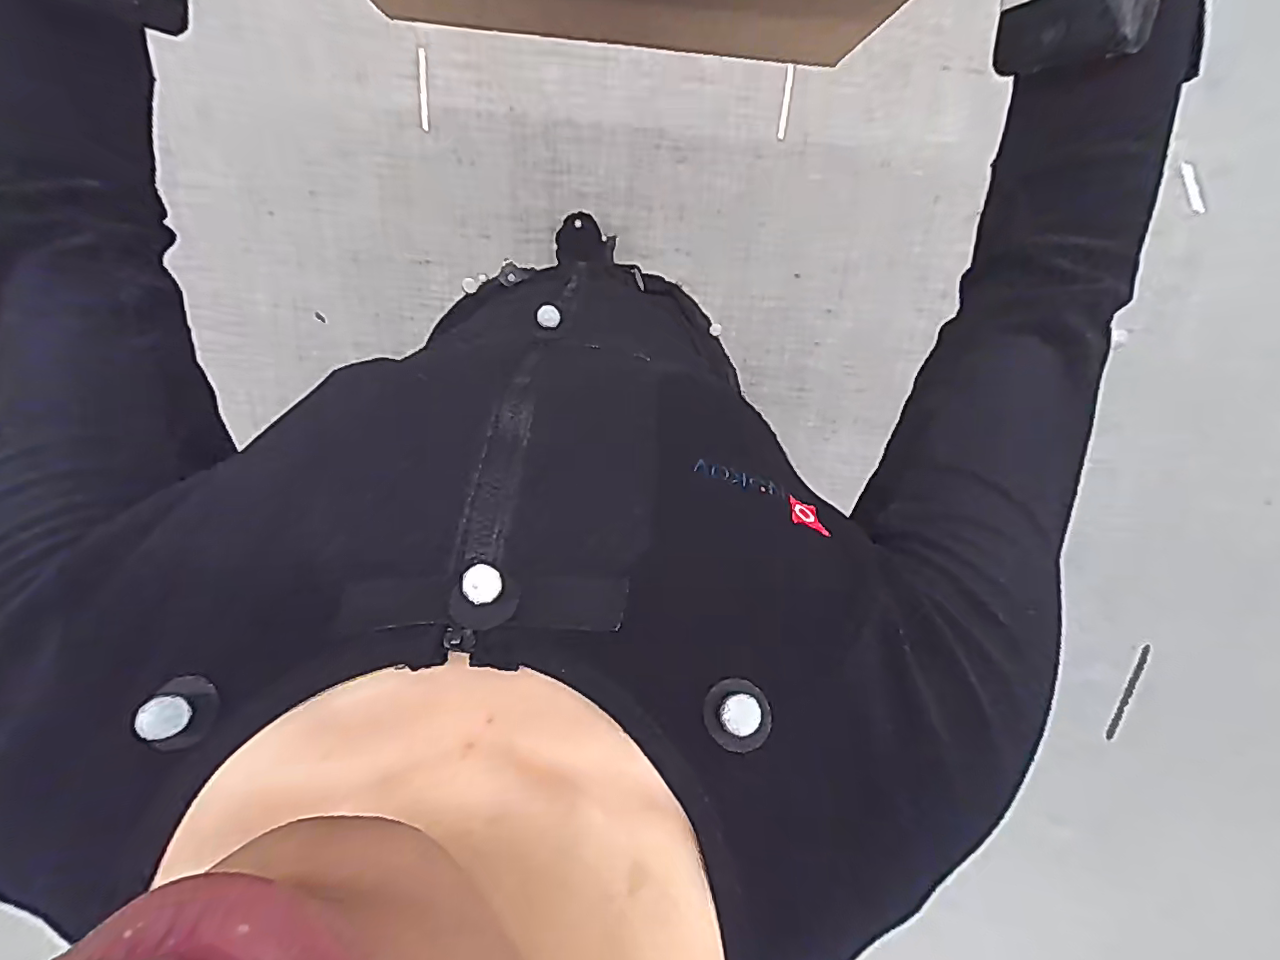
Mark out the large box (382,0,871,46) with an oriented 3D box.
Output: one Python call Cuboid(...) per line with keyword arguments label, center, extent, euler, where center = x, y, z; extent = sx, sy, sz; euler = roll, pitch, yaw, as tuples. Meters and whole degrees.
Cuboid(label="large box", center=(-0.010, -0.485, 0.289), extent=(0.408, 0.320, 0.320), euler=(3, 113, -3))
